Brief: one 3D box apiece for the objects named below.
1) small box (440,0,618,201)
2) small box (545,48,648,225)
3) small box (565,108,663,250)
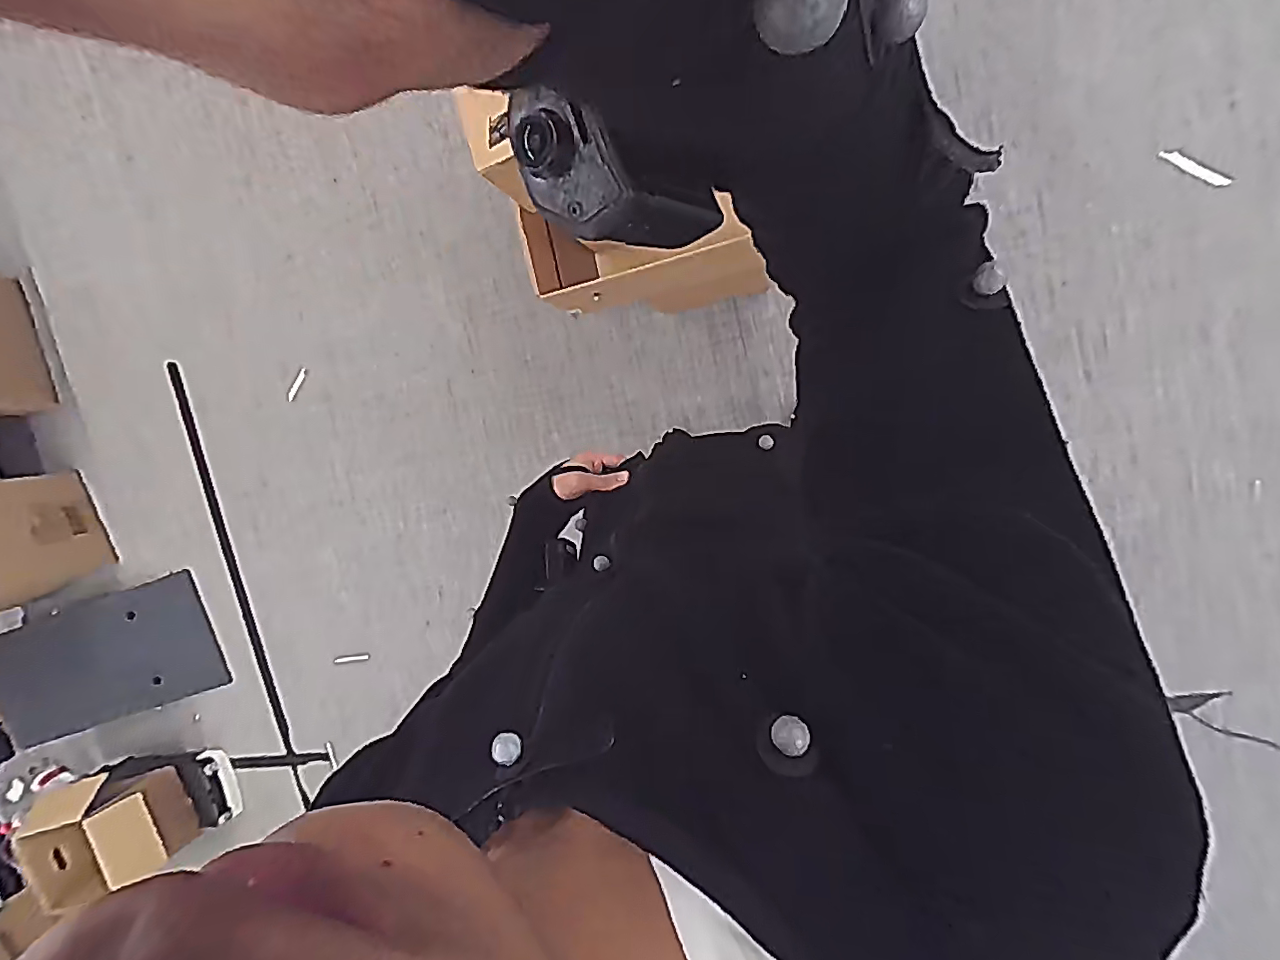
[{"bbox_3d":[-0.144,-0.525,0.768,0.168,0.176,0.179,-15,95,15],"label":"small box"},{"bbox_3d":[-0.097,-0.567,0.921,0.168,0.176,0.179,-12,96,16],"label":"small box"},{"bbox_3d":[-0.062,-0.589,1.080,0.168,0.176,0.179,-12,96,15],"label":"small box"}]
